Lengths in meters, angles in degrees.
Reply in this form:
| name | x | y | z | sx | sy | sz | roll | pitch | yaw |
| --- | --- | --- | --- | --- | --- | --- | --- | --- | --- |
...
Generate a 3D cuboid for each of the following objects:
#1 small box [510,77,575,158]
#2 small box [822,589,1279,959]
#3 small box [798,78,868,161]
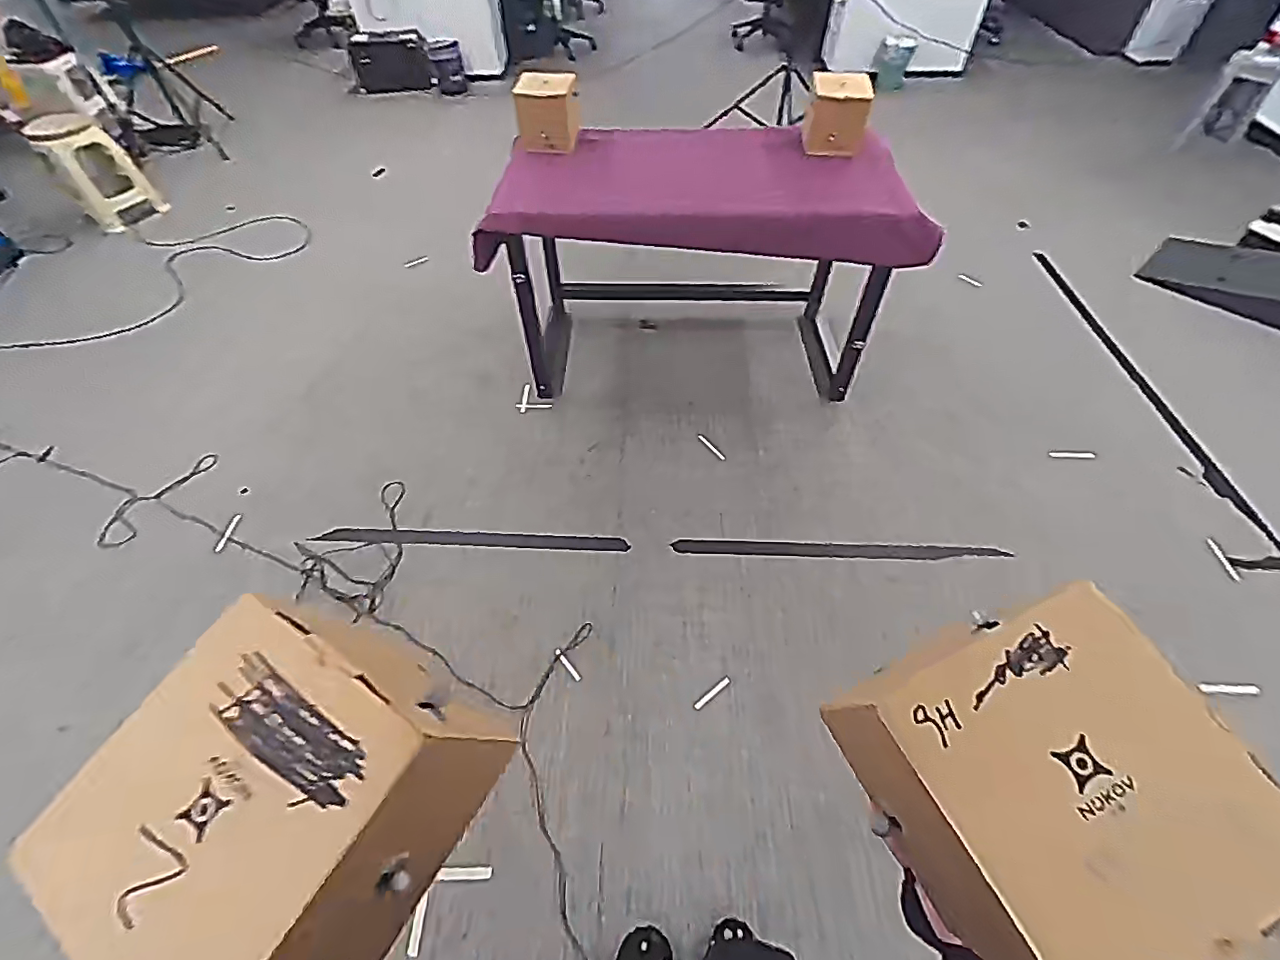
| name | x | y | z | sx | sy | sz | roll | pitch | yaw |
| --- | --- | --- | --- | --- | --- | --- | --- | --- | --- |
| small box | -0.308 | -1.177 | 1.758 | 0.168 | 0.176 | 0.179 | 4 | 54 | 4 |
| small box | 0.258 | 0.203 | 0.378 | 0.168 | 0.176 | 0.179 | -26 | 67 | -7 |
| small box | 0.607 | -1.151 | 1.727 | 0.168 | 0.176 | 0.179 | 4 | 57 | 4 |
